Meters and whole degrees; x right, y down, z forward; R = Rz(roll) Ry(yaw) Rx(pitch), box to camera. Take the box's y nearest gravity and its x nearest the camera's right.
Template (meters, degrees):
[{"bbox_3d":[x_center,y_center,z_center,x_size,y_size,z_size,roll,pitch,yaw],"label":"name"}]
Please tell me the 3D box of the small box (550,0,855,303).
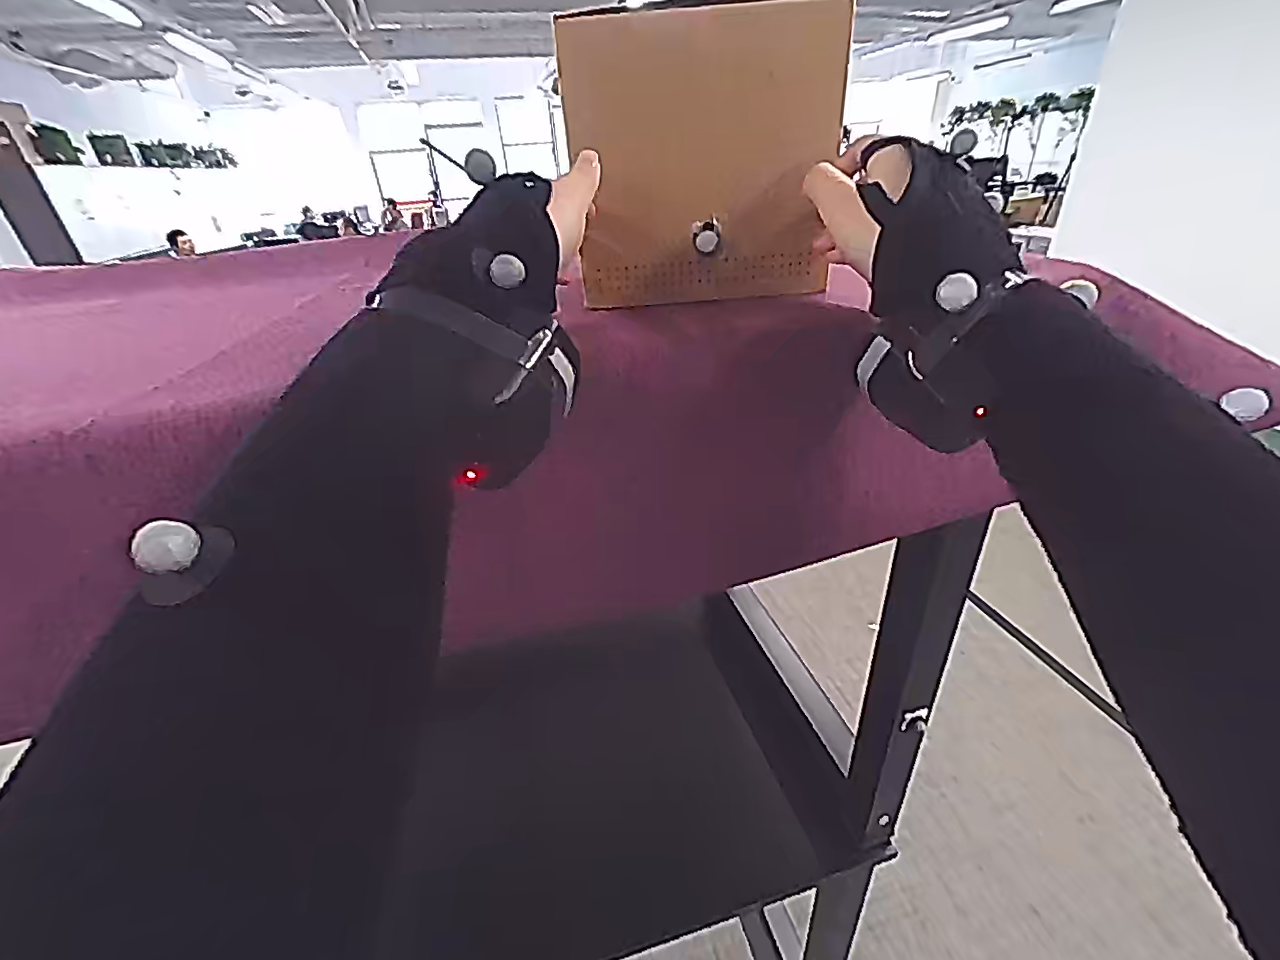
[{"bbox_3d":[0.038,-0.240,0.412,0.179,0.176,0.168,-4,29,0],"label":"small box"}]
